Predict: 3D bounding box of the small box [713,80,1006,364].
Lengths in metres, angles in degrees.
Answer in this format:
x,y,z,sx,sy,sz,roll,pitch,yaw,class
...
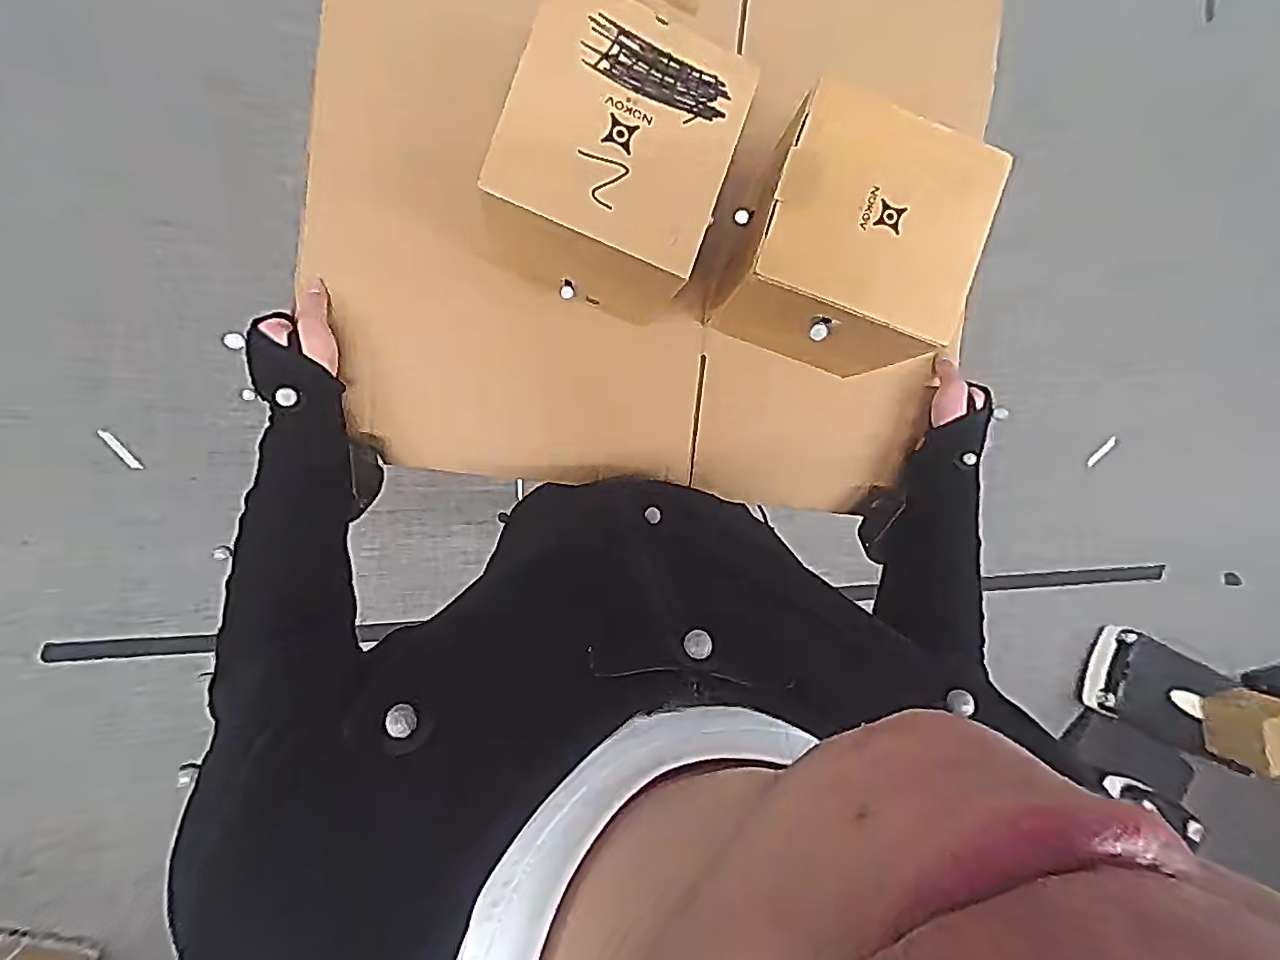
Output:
x,y,z,sx,sy,sz,roll,pitch,yaw,class
0.190,-0.222,0.522,0.179,0.176,0.168,19,91,-6,small box
